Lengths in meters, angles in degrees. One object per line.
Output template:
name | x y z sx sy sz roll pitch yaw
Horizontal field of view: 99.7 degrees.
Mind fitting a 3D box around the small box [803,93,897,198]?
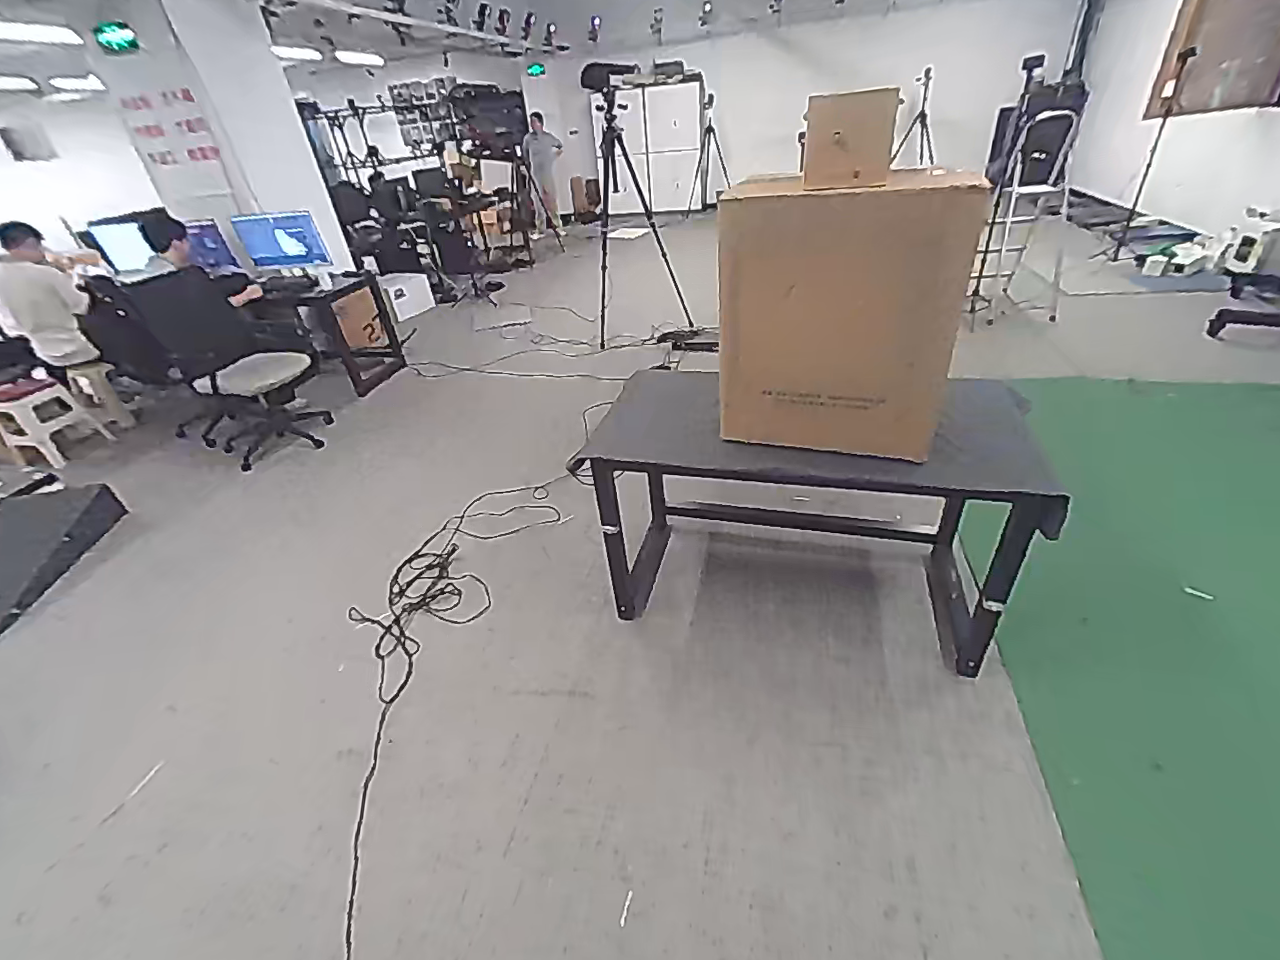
small box | 0.440 -0.697 1.136 0.168 0.176 0.179 7 37 19
